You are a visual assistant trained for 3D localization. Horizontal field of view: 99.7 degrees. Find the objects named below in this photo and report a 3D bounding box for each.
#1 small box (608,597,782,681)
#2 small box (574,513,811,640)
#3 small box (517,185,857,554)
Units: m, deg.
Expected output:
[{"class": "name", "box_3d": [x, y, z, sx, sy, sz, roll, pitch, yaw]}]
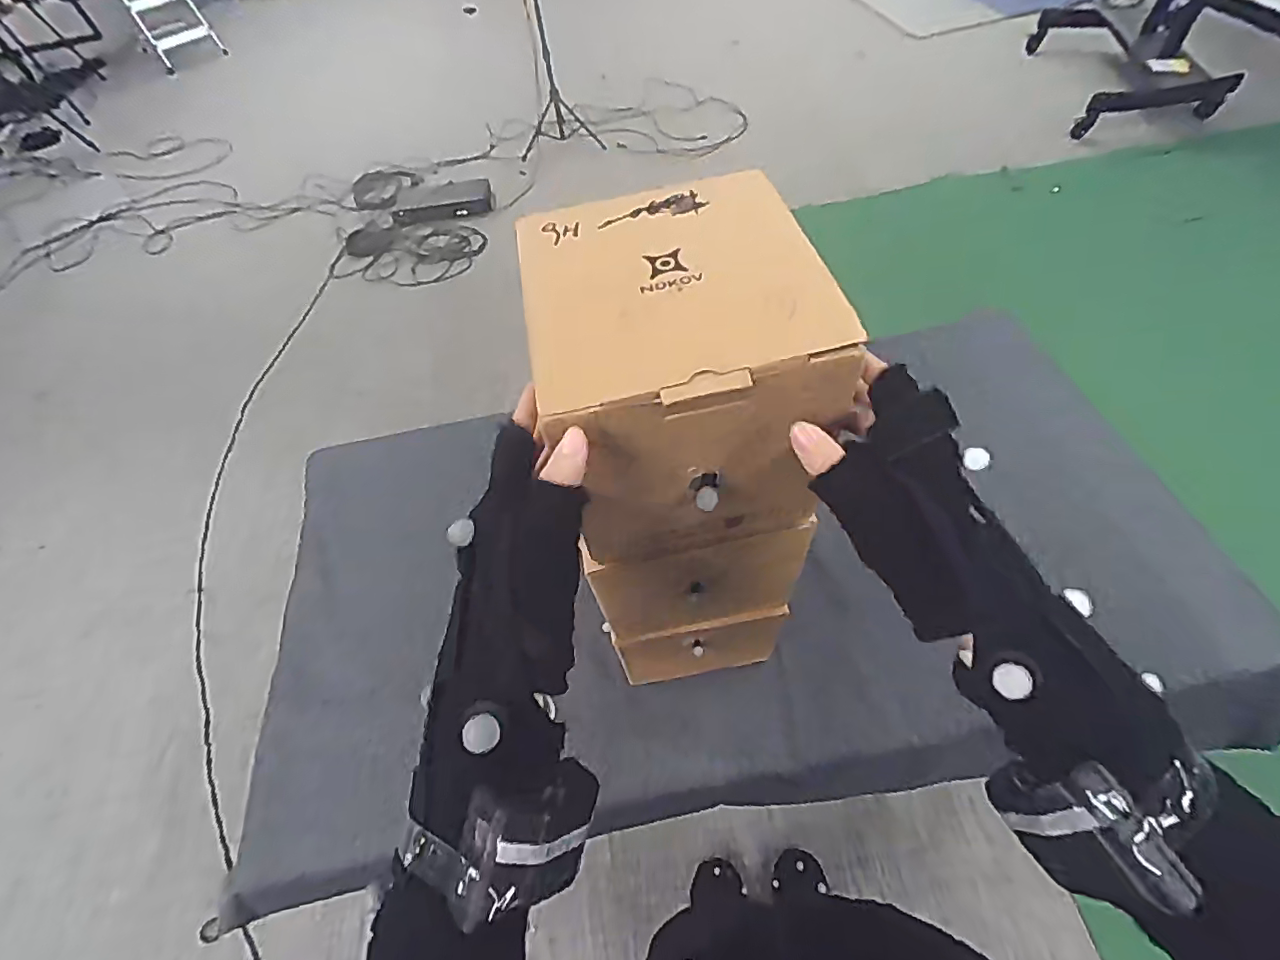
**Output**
[{"class": "small box", "box_3d": [0.050, 0.127, 0.640, 0.179, 0.176, 0.168, -10, 57, -2]}, {"class": "small box", "box_3d": [0.035, 0.034, 0.505, 0.179, 0.176, 0.168, -12, 57, -1]}, {"class": "small box", "box_3d": [0.022, -0.063, 0.373, 0.168, 0.176, 0.179, -12, 57, -1]}]
